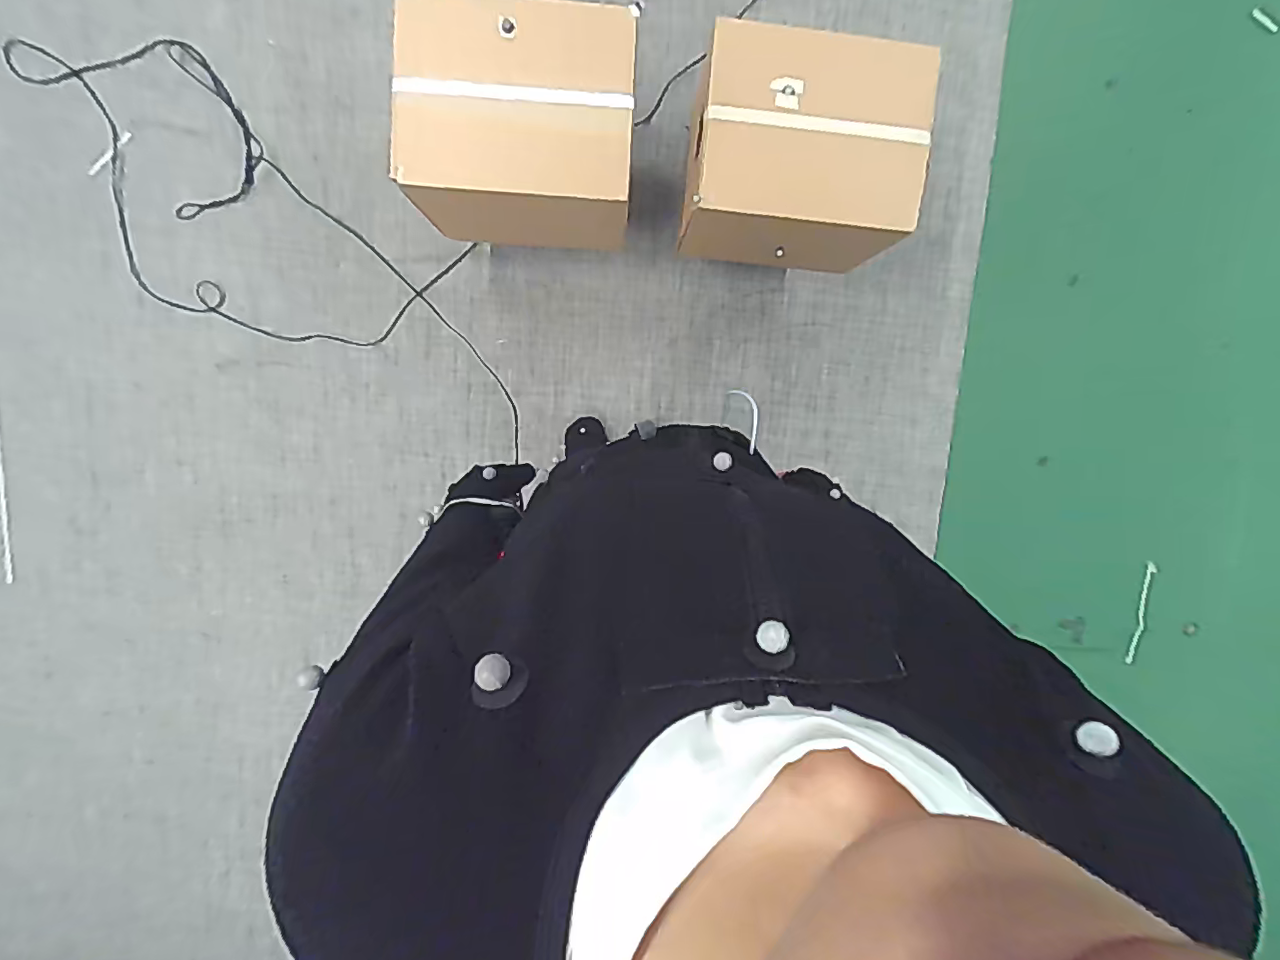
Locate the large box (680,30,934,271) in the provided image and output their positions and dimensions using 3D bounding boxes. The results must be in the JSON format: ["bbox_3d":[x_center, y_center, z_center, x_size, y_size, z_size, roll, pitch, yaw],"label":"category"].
[{"bbox_3d":[0.311,-0.640,1.117,0.408,0.320,0.320,5,97,-3],"label":"large box"}]
